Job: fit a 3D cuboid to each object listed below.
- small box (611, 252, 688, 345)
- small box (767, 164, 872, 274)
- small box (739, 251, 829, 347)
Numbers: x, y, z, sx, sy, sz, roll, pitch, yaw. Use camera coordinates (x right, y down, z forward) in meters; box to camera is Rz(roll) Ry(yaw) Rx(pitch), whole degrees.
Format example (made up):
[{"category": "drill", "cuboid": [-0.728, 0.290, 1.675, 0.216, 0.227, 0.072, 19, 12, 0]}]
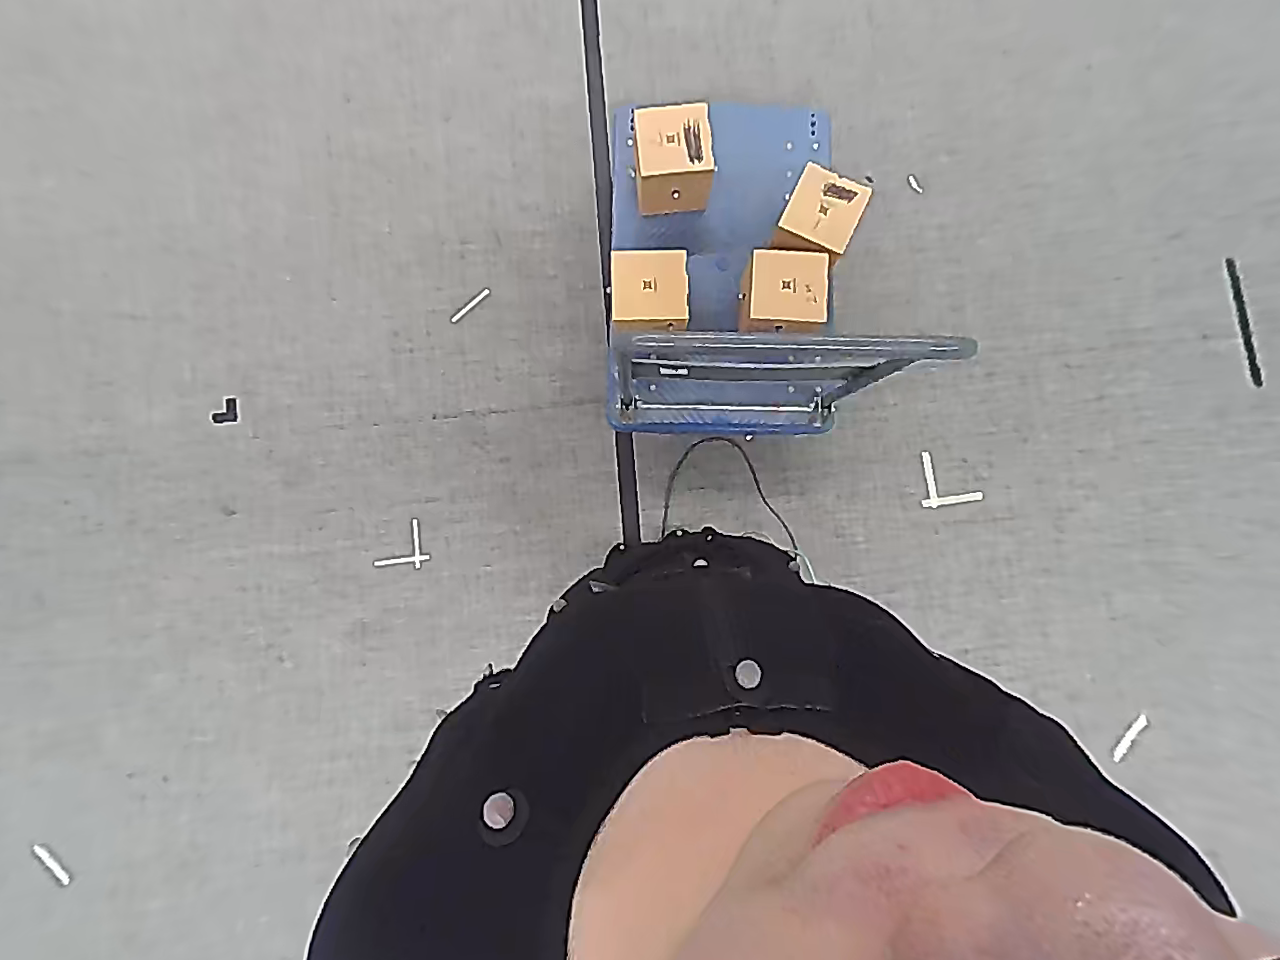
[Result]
[{"category": "small box", "cuboid": [0.022, -0.432, 1.308, 0.179, 0.176, 0.168, -1, 85, -1]}, {"category": "small box", "cuboid": [0.426, -0.614, 1.320, 0.168, 0.176, 0.179, 26, 86, 3]}, {"category": "small box", "cuboid": [0.339, -0.429, 1.304, 0.179, 0.176, 0.168, 4, 85, 1]}]
